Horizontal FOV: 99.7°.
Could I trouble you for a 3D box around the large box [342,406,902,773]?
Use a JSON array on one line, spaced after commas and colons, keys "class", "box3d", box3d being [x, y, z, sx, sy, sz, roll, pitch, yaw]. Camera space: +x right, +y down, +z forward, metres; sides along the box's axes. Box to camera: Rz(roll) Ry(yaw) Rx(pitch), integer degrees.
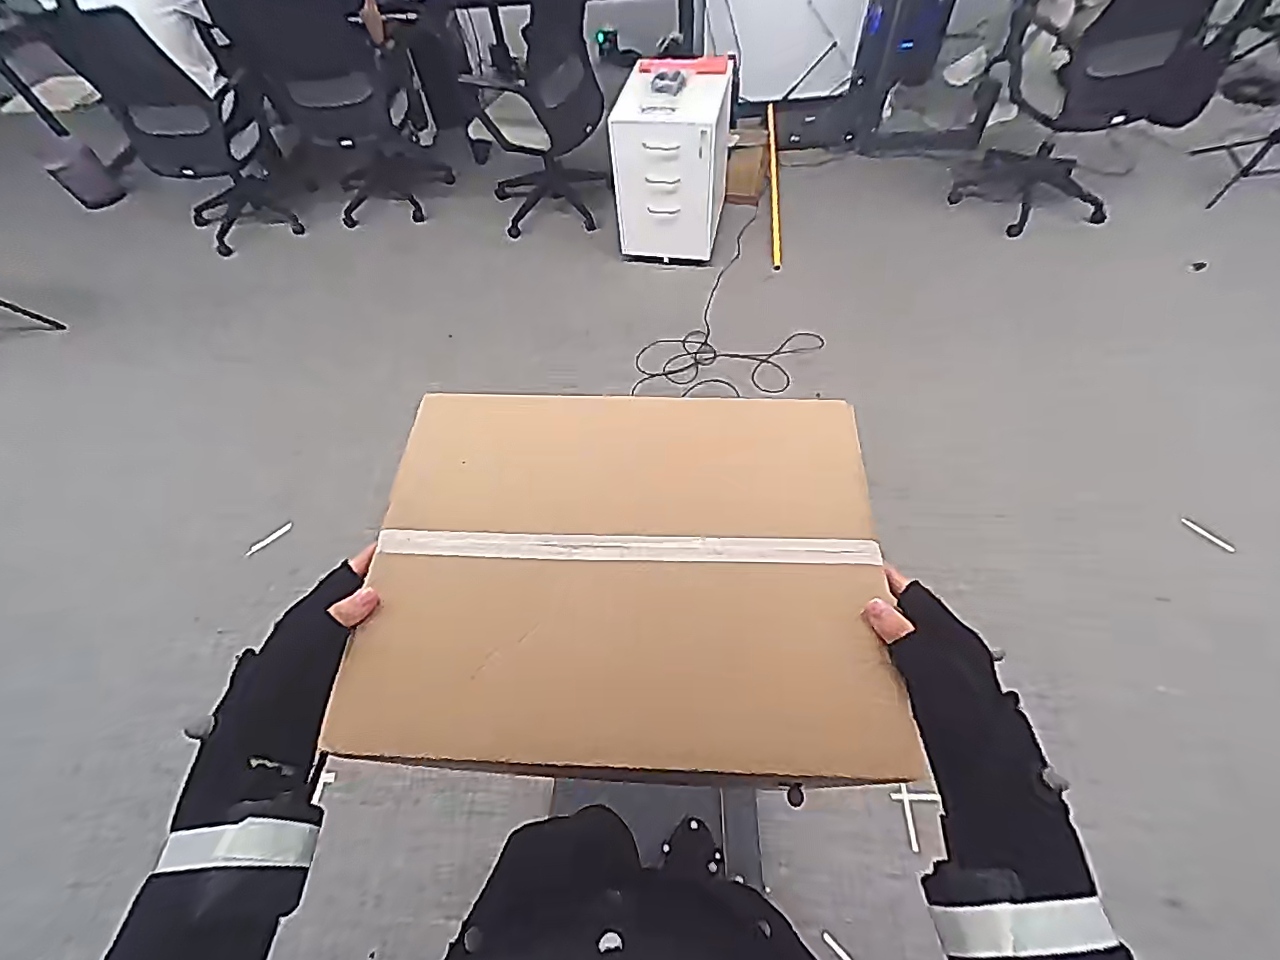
[{"class": "large box", "box3d": [-0.006, 0.135, 0.579, 0.408, 0.320, 0.320, 1, 59, 3]}]
